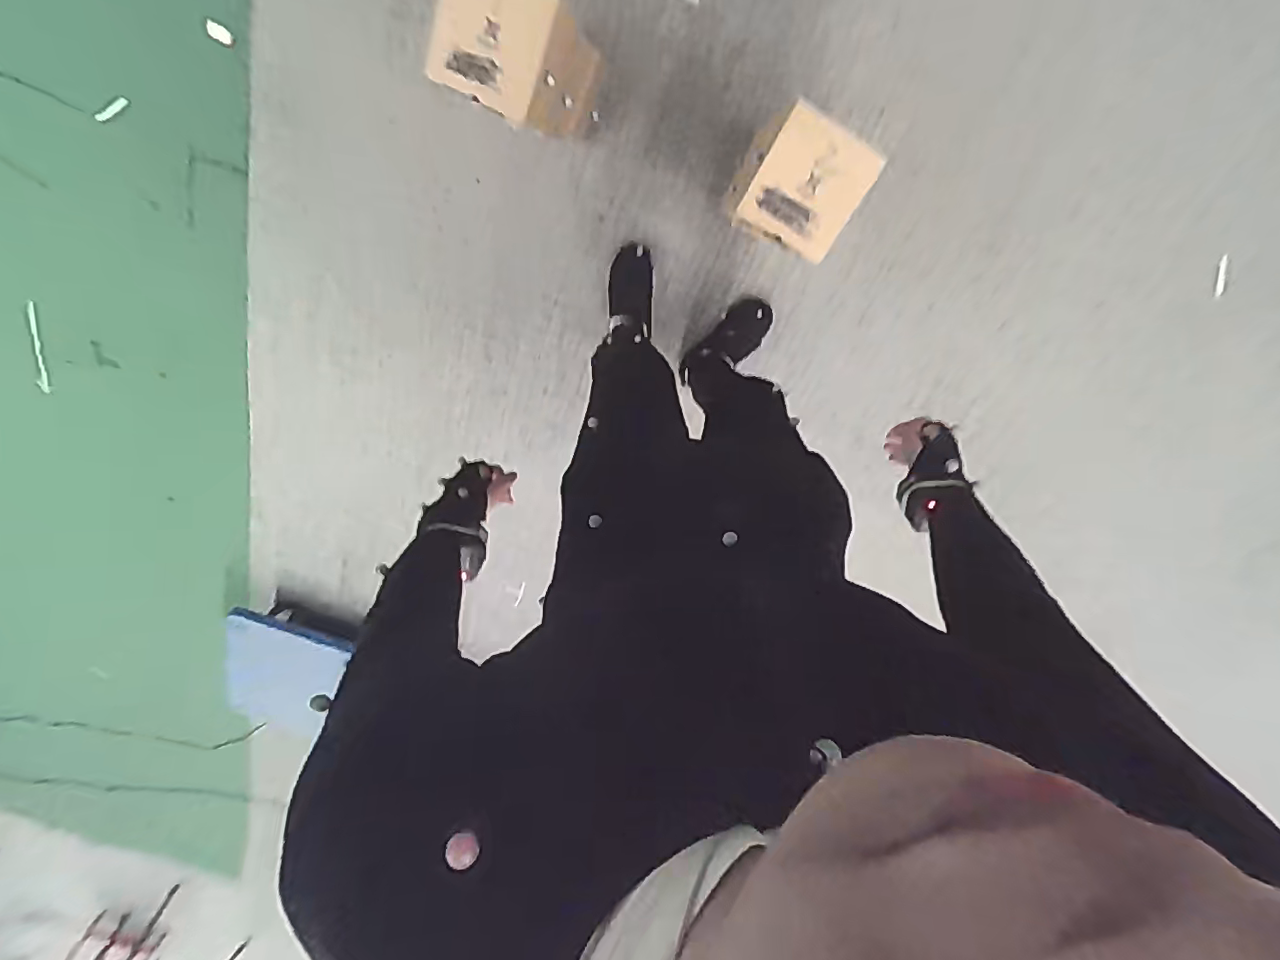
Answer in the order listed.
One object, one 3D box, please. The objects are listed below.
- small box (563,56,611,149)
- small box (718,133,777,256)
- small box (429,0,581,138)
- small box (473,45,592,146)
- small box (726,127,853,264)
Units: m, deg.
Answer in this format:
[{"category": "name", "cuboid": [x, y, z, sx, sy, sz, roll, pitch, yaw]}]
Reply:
[{"category": "small box", "cuboid": [-0.180, -0.833, 1.157, 0.179, 0.176, 0.168, 26, 119, -8]}, {"category": "small box", "cuboid": [0.288, -0.634, 1.207, 0.168, 0.176, 0.179, 33, 118, -9]}, {"category": "small box", "cuboid": [-0.207, -0.679, 0.868, 0.168, 0.176, 0.179, 25, 118, -7]}, {"category": "small box", "cuboid": [-0.203, -0.755, 1.015, 0.168, 0.176, 0.179, 26, 119, -7]}, {"category": "small box", "cuboid": [0.280, -0.558, 1.066, 0.168, 0.176, 0.179, 27, 118, -9]}]
